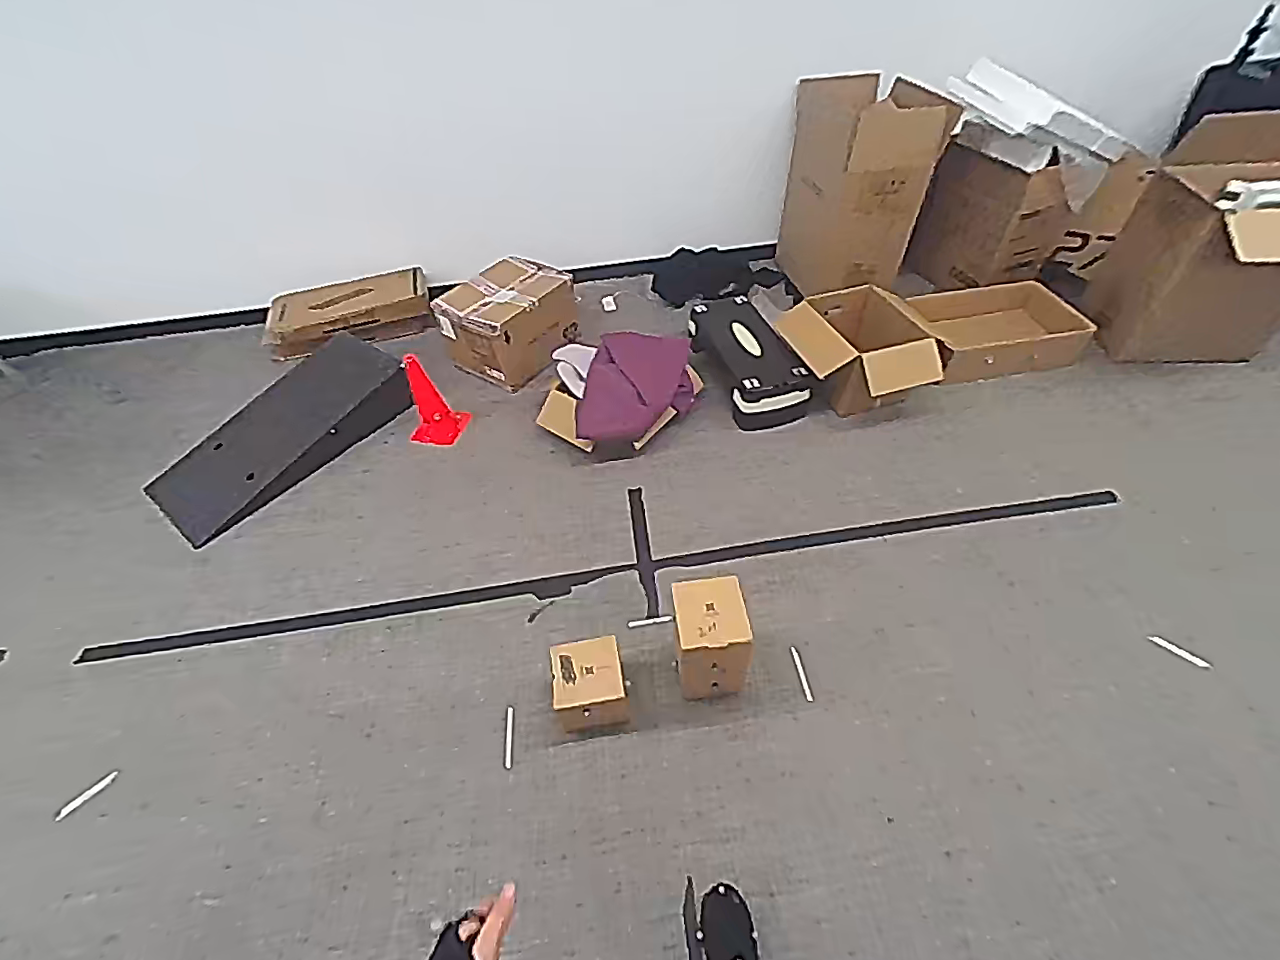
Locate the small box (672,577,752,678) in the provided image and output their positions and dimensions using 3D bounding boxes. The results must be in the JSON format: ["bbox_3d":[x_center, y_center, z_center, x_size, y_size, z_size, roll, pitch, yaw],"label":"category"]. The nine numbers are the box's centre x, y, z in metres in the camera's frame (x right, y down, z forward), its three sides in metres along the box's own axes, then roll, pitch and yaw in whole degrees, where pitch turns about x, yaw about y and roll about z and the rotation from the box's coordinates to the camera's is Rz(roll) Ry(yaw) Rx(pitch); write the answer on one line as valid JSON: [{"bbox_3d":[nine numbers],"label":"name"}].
[{"bbox_3d":[0.169,0.363,1.327,0.168,0.176,0.179,-7,48,-1],"label":"small box"}]

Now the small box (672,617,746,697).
[{"bbox_3d":[0.183,0.468,1.456,0.168,0.176,0.179,-9,49,-2],"label":"small box"}]

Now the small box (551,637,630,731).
[{"bbox_3d":[-0.128,0.538,1.418,0.179,0.176,0.168,-9,48,-4],"label":"small box"}]
